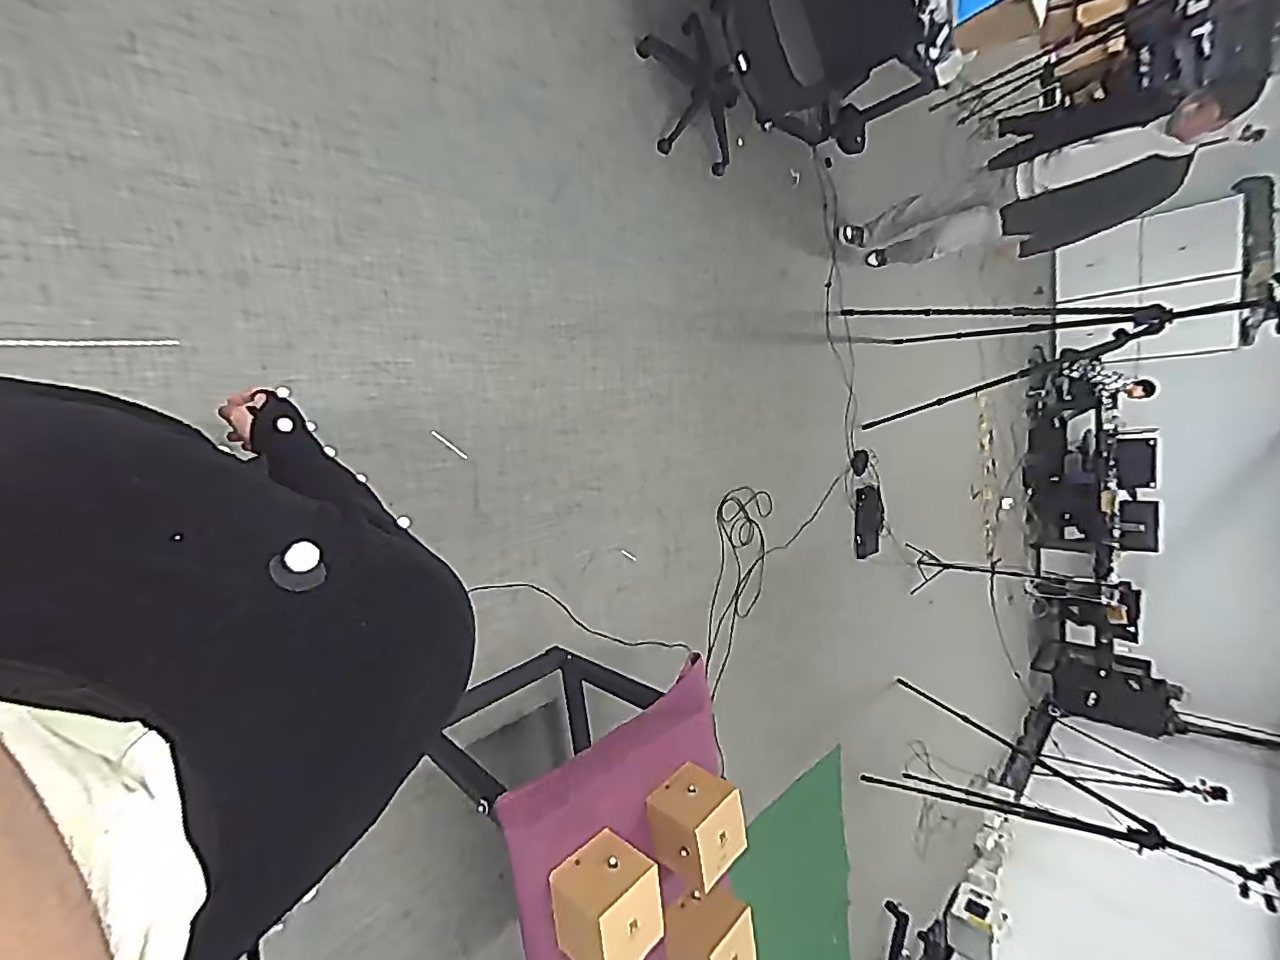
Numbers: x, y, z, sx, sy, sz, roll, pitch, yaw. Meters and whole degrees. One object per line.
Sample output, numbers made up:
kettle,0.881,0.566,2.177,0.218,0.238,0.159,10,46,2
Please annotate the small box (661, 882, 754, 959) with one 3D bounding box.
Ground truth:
small box,0.171,1.185,1.388,0.168,0.176,0.179,-15,101,-43

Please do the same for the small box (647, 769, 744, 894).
small box,0.134,0.853,1.341,0.168,0.176,0.179,-17,103,-41

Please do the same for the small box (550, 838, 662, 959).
small box,-0.075,0.902,1.144,0.168,0.176,0.179,-13,101,-44
